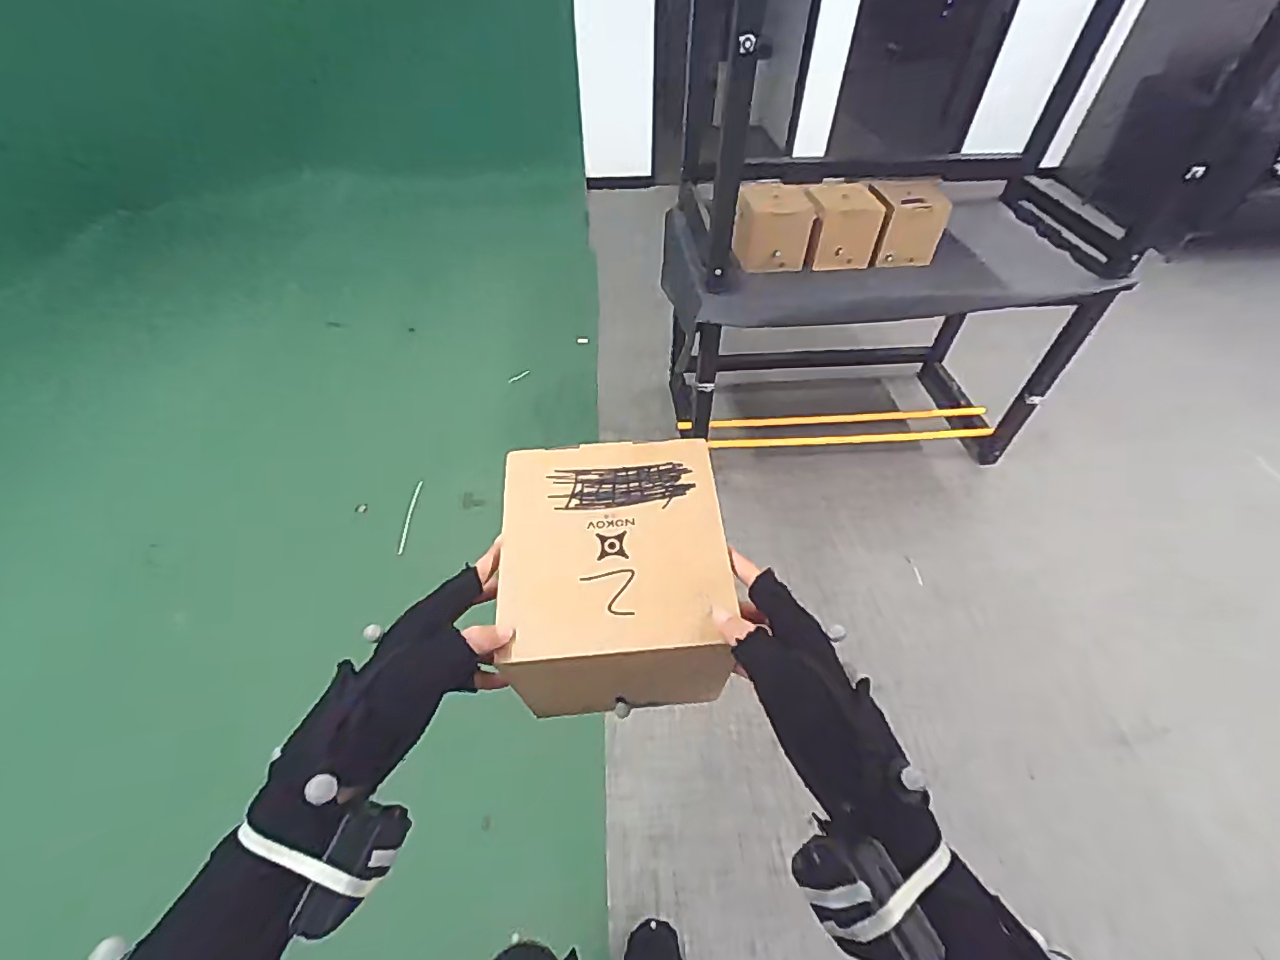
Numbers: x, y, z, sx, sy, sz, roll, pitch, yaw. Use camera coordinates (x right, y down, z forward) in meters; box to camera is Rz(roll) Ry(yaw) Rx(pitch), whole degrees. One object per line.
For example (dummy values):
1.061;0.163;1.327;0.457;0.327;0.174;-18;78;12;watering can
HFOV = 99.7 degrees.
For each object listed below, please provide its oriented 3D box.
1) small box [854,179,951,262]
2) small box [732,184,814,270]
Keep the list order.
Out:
0.735;-0.732;1.534;0.168;0.176;0.179;-4;47;-4;small box
0.362;-0.706;1.508;0.168;0.176;0.179;-5;48;-4;small box
